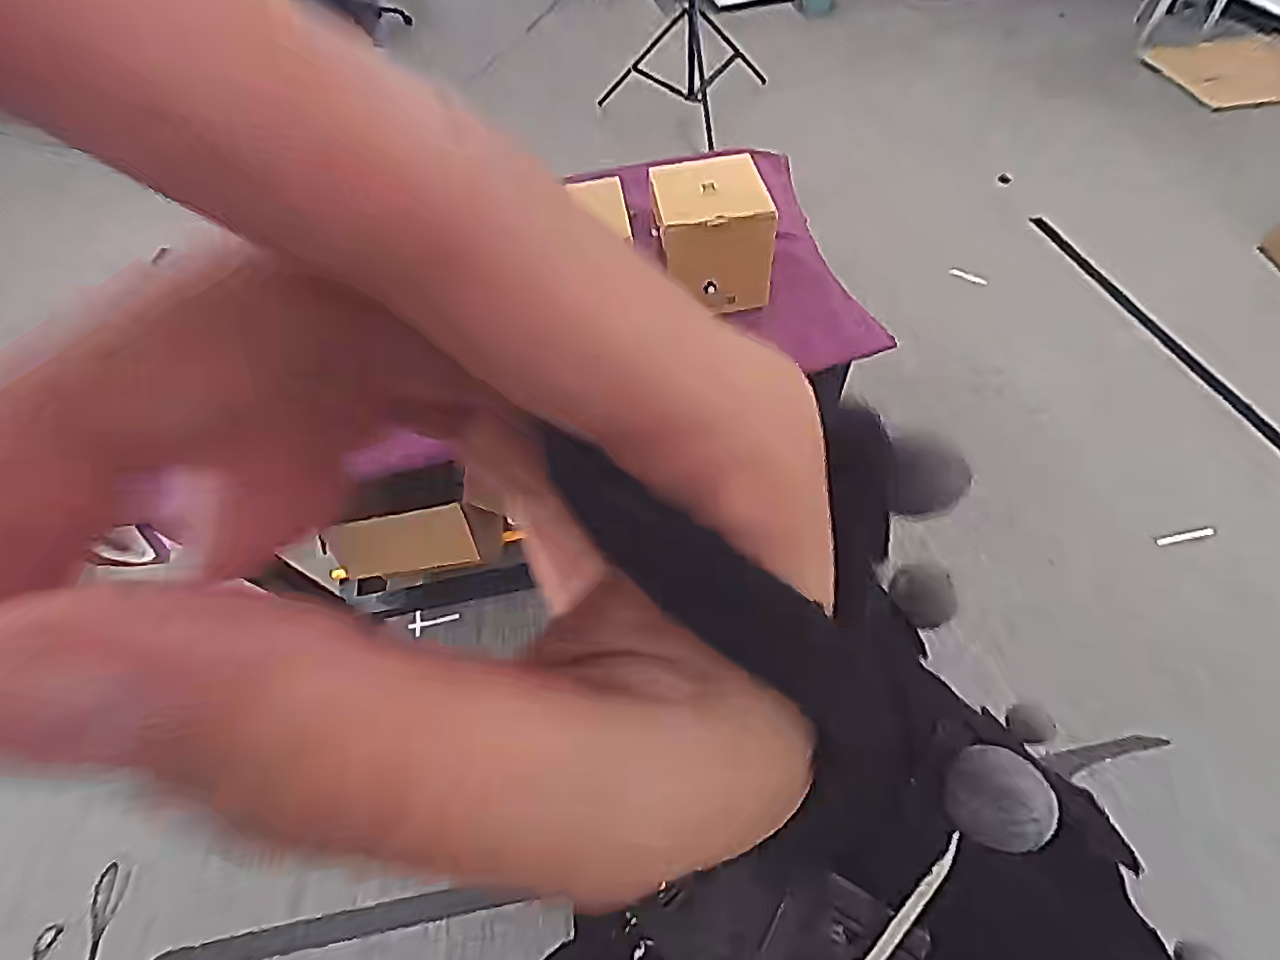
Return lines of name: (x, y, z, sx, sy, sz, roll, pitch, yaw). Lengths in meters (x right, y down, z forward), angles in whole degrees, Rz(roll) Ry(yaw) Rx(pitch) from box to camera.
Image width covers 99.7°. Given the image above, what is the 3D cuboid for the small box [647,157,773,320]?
small box: (0.106, -0.391, 0.884, 0.168, 0.176, 0.179, -10, 56, 0)
